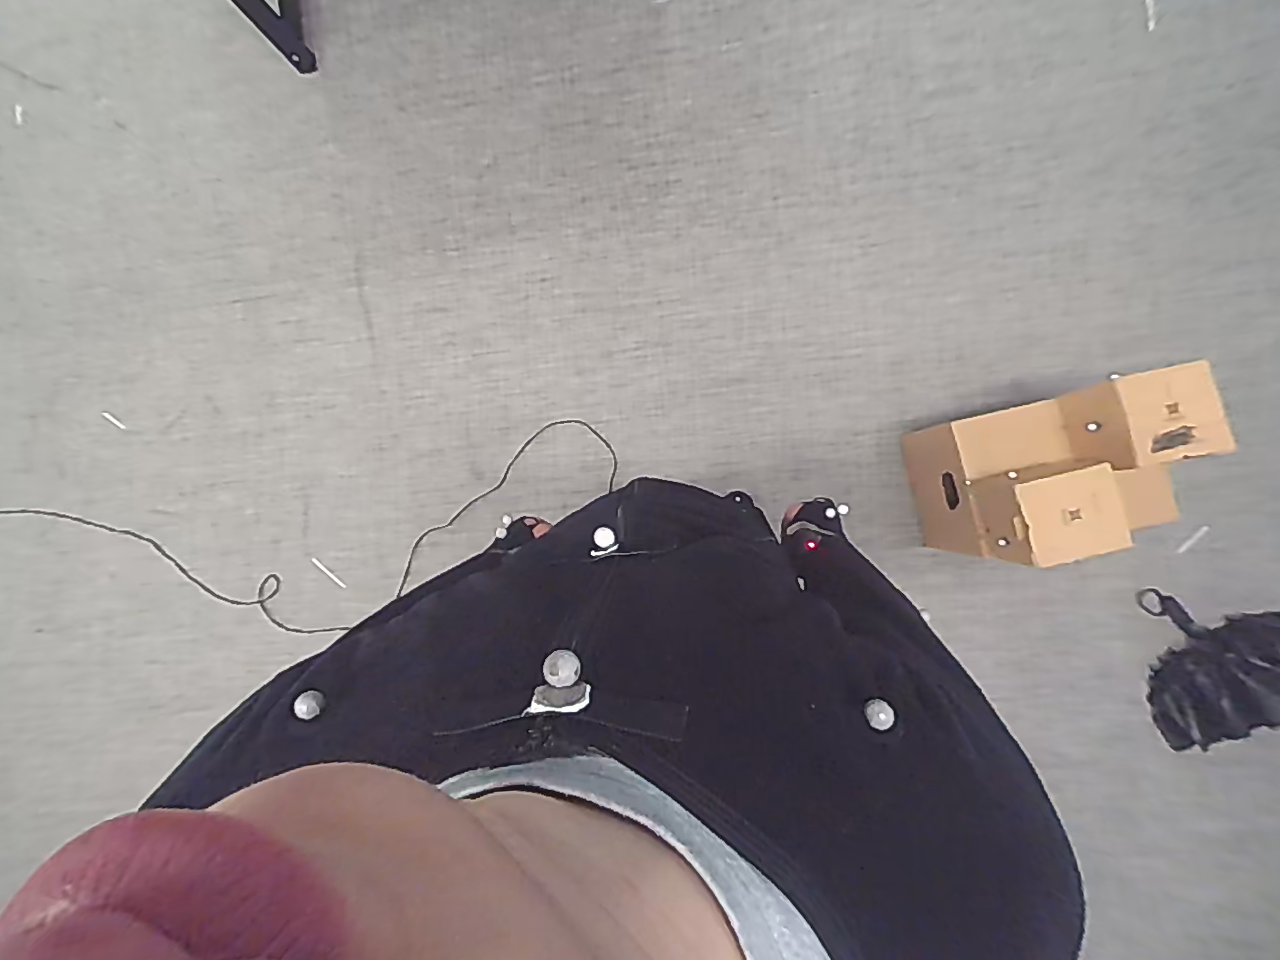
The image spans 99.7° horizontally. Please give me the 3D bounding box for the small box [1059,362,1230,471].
[{"bbox_3d":[0.989,-0.115,1.078,0.168,0.176,0.179,-11,84,5],"label":"small box"}]

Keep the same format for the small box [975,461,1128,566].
[{"bbox_3d":[0.813,0.064,1.093,0.179,0.176,0.168,-15,90,4],"label":"small box"}]
